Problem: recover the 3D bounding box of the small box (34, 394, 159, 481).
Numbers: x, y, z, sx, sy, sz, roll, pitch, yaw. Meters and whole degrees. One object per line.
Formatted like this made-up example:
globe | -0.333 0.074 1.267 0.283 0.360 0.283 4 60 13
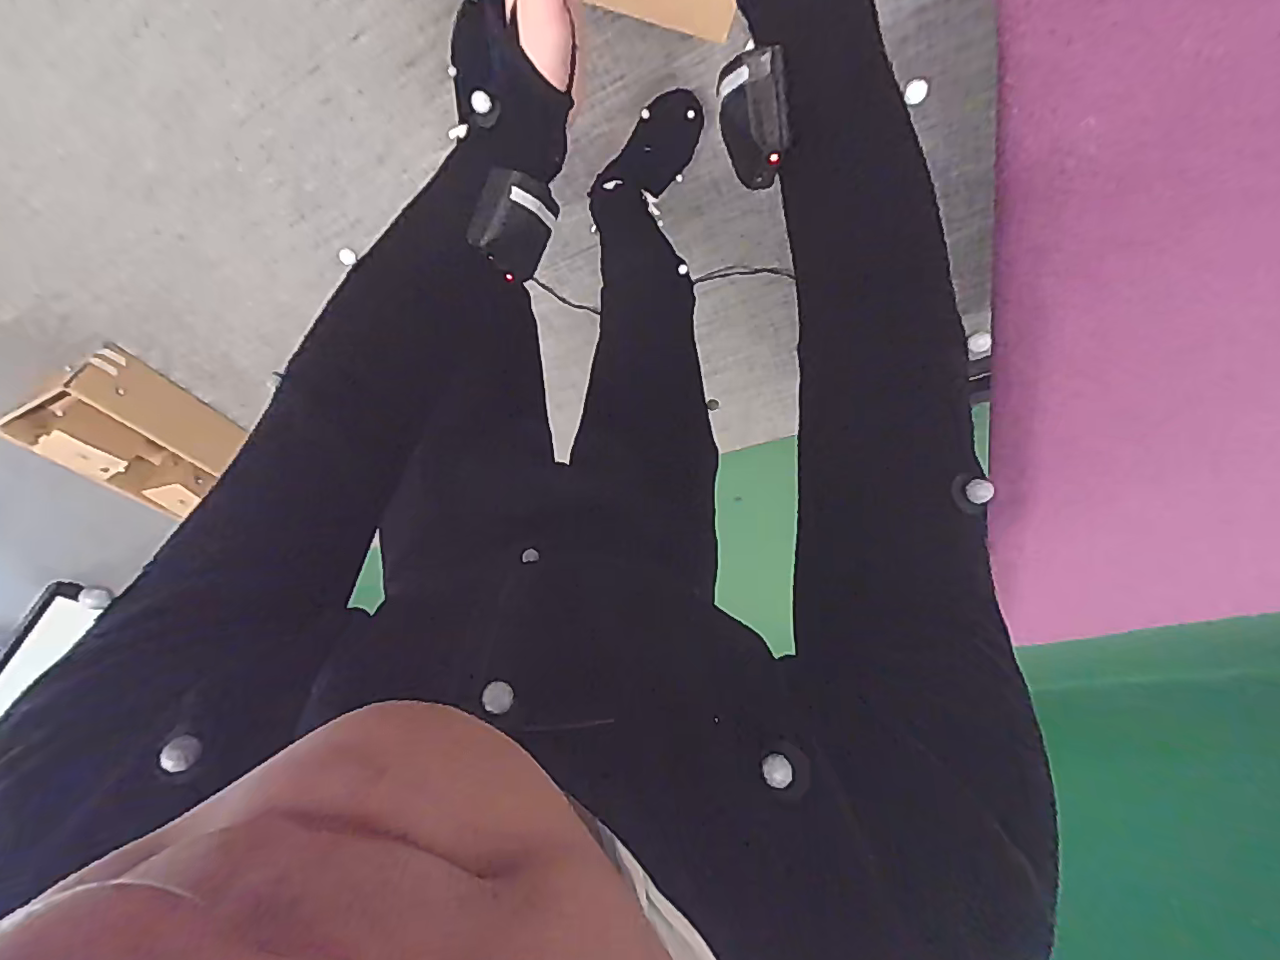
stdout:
small box | -1.593 -0.131 1.595 0.168 0.176 0.179 -18 139 24
